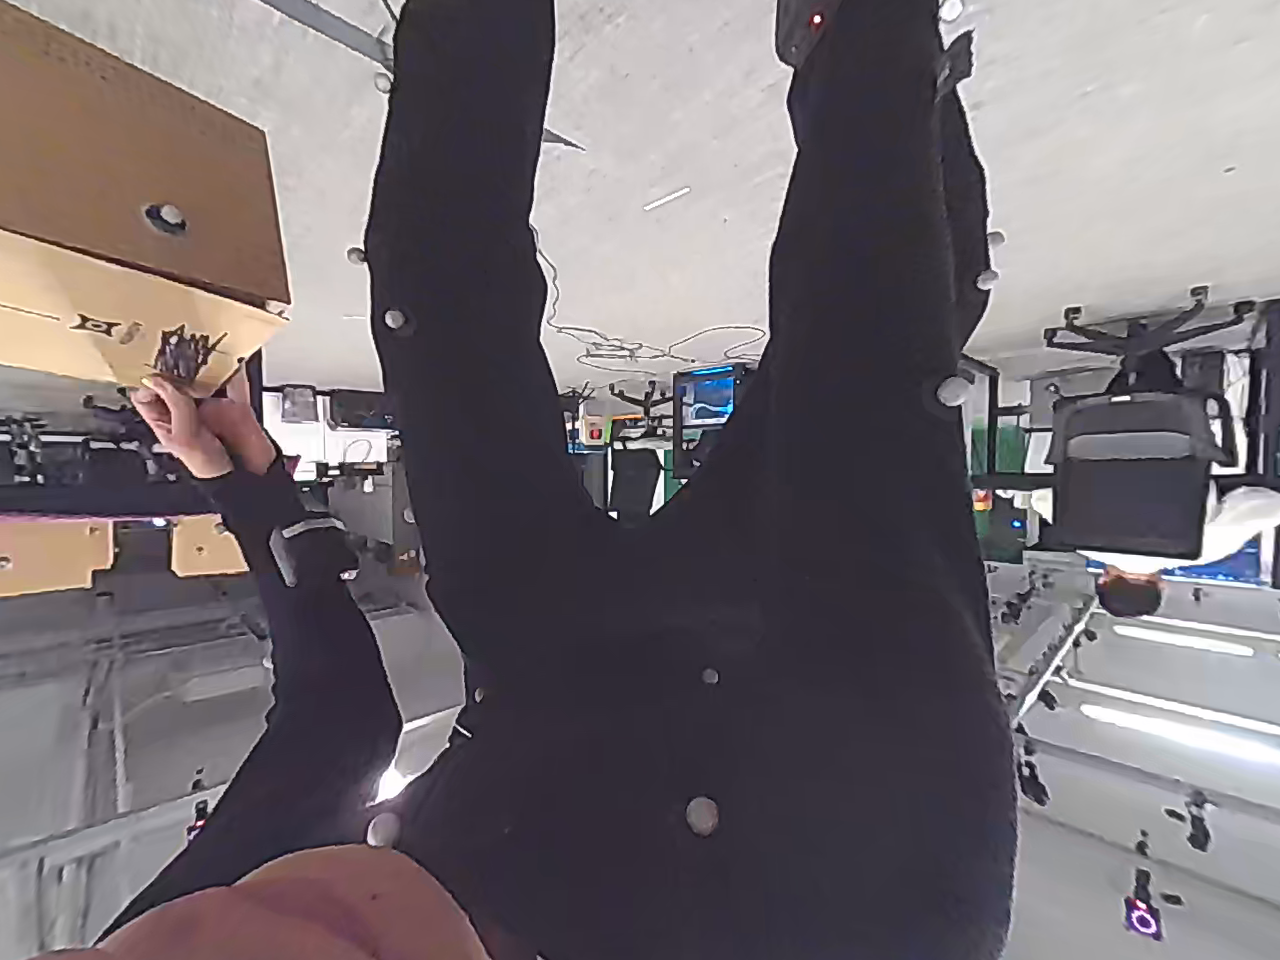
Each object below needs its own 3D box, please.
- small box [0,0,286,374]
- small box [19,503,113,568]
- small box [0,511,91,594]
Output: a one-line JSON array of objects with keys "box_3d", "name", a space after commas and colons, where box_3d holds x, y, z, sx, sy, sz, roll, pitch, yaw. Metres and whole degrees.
[{"box_3d": [-0.403, -0.201, 0.400, 0.168, 0.176, 0.179, -21, 167, 30], "name": "small box"}, {"box_3d": [-1.554, 0.151, 1.471, 0.168, 0.176, 0.179, -2, -179, -42], "name": "small box"}, {"box_3d": [-1.380, 0.158, 1.233, 0.168, 0.176, 0.179, 2, -178, 44], "name": "small box"}]
